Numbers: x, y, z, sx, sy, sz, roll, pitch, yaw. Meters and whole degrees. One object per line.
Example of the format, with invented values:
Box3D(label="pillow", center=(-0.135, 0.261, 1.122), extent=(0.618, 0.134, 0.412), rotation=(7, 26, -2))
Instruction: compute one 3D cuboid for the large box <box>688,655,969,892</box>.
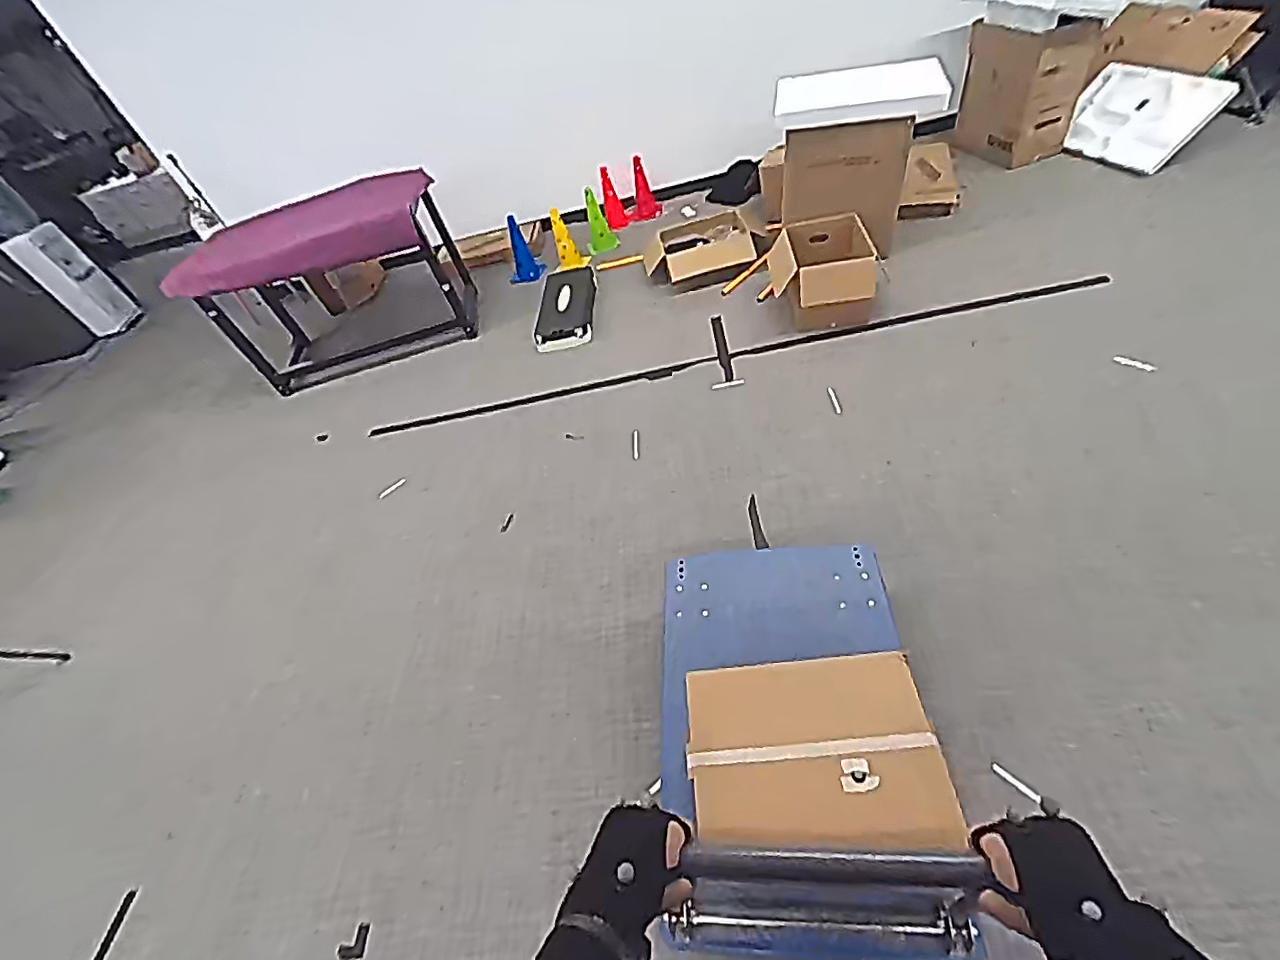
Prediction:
Box3D(label="large box", center=(0.318, 0.566, 1.030), extent=(0.408, 0.320, 0.320), rotation=(-8, 48, 7))
